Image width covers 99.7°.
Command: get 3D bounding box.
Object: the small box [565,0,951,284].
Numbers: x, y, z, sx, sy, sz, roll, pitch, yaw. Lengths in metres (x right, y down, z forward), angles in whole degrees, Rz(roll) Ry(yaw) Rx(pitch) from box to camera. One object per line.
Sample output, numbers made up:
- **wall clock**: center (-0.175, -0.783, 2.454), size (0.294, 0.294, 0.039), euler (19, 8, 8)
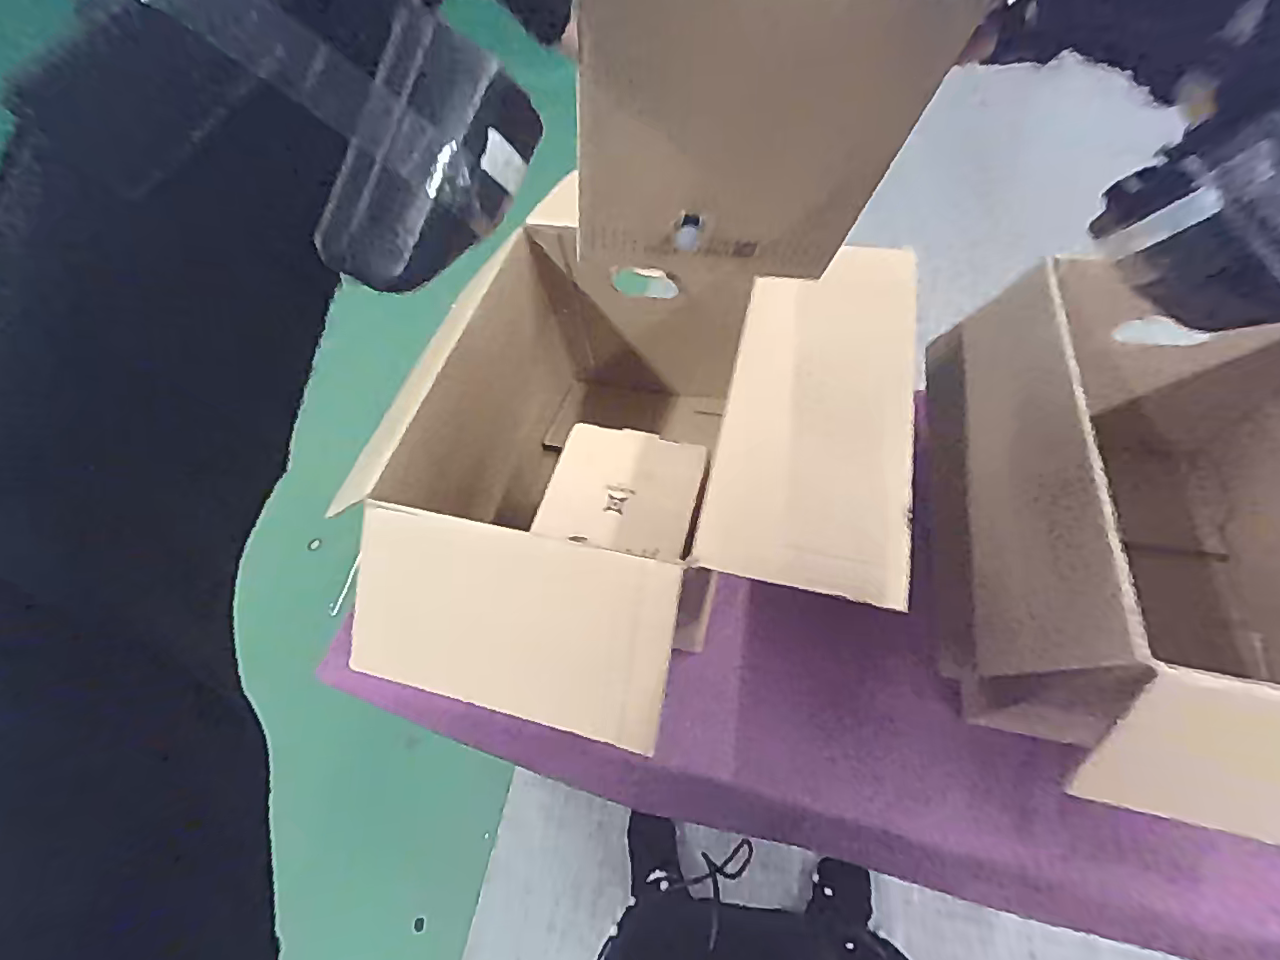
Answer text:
- **small box**: center (0.041, -0.247, 0.323), size (0.168, 0.176, 0.179), euler (1, 70, -5)
